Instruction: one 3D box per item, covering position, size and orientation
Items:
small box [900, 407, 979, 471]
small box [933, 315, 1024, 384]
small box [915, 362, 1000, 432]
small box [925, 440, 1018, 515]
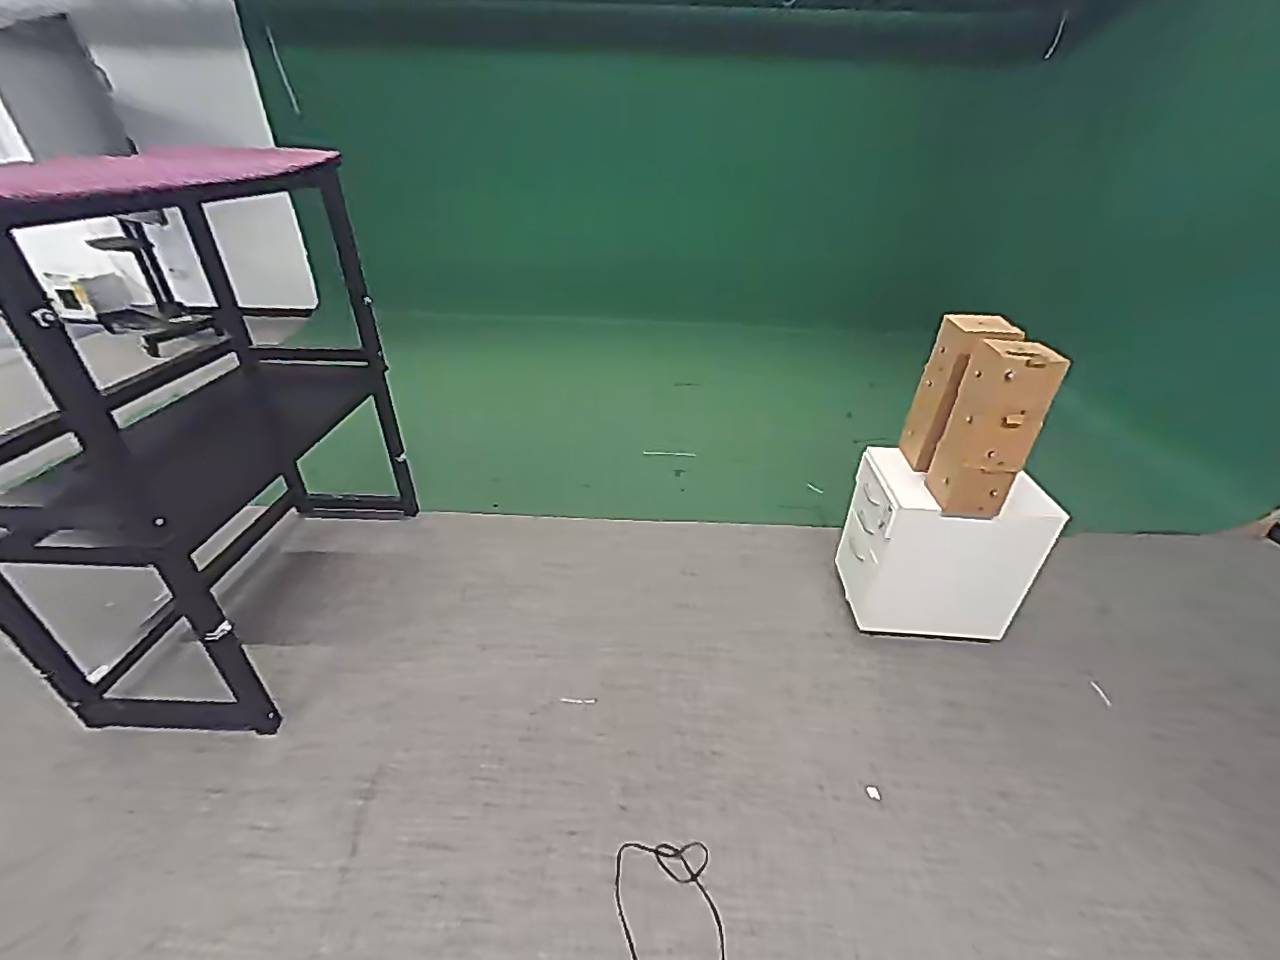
[{"bbox_3d":[1.036,-0.140,1.889,0.168,0.176,0.179,3,33,4],"label":"small box"},{"bbox_3d":[1.052,-0.412,1.704,0.179,0.176,0.168,3,34,3],"label":"small box"},{"bbox_3d":[1.044,-0.278,1.799,0.168,0.176,0.179,3,35,3],"label":"small box"},{"bbox_3d":[1.021,-0.007,1.683,0.168,0.176,0.179,4,31,2],"label":"small box"}]
